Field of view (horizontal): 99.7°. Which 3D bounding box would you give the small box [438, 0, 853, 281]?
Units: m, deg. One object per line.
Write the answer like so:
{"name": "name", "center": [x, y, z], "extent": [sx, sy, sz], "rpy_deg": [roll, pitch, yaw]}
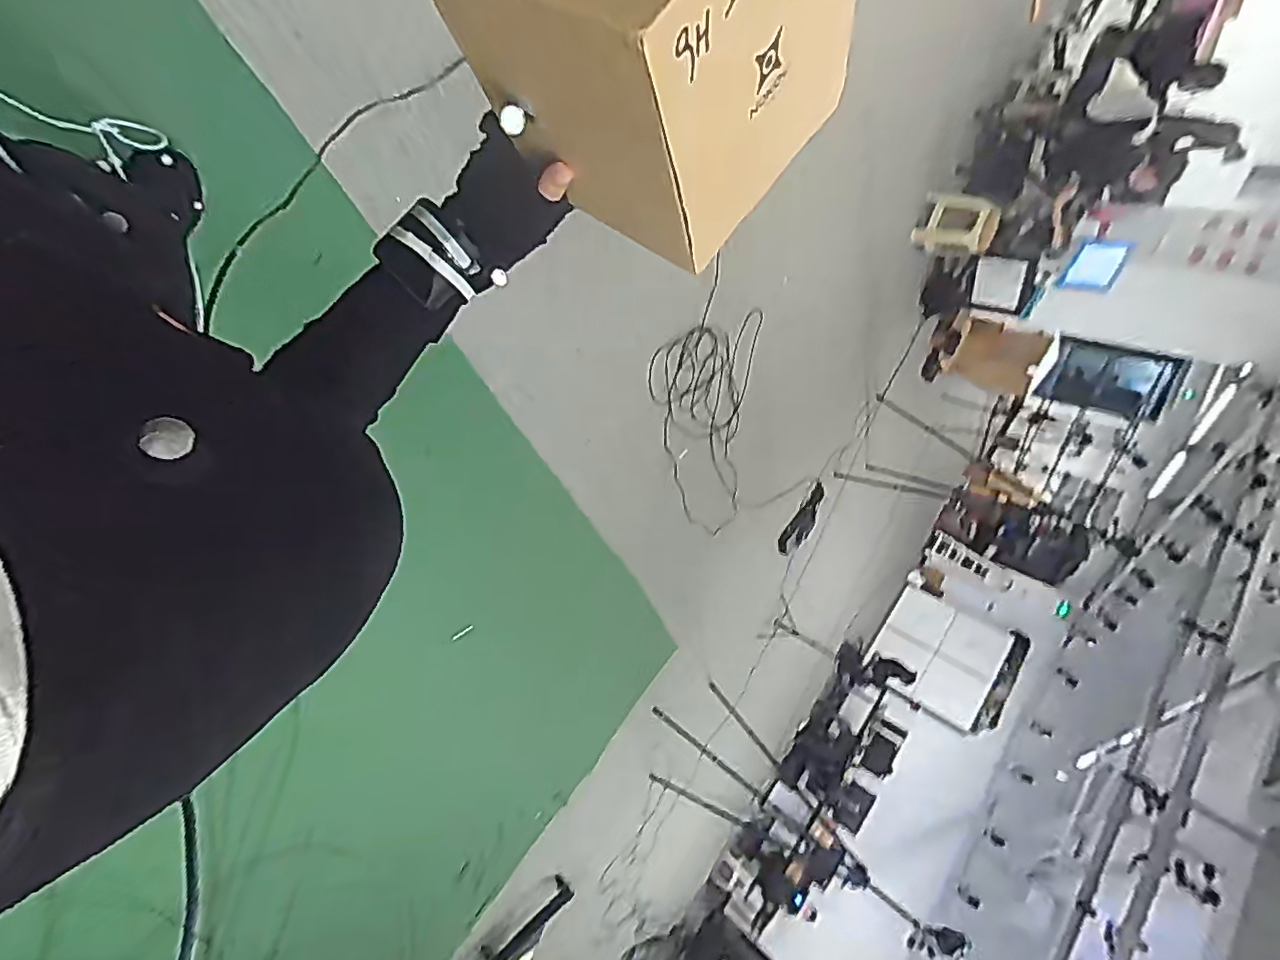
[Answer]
{"name": "small box", "center": [0.009, -0.268, 0.330], "extent": [0.168, 0.176, 0.179], "rpy_deg": [-52, 164, -2]}
